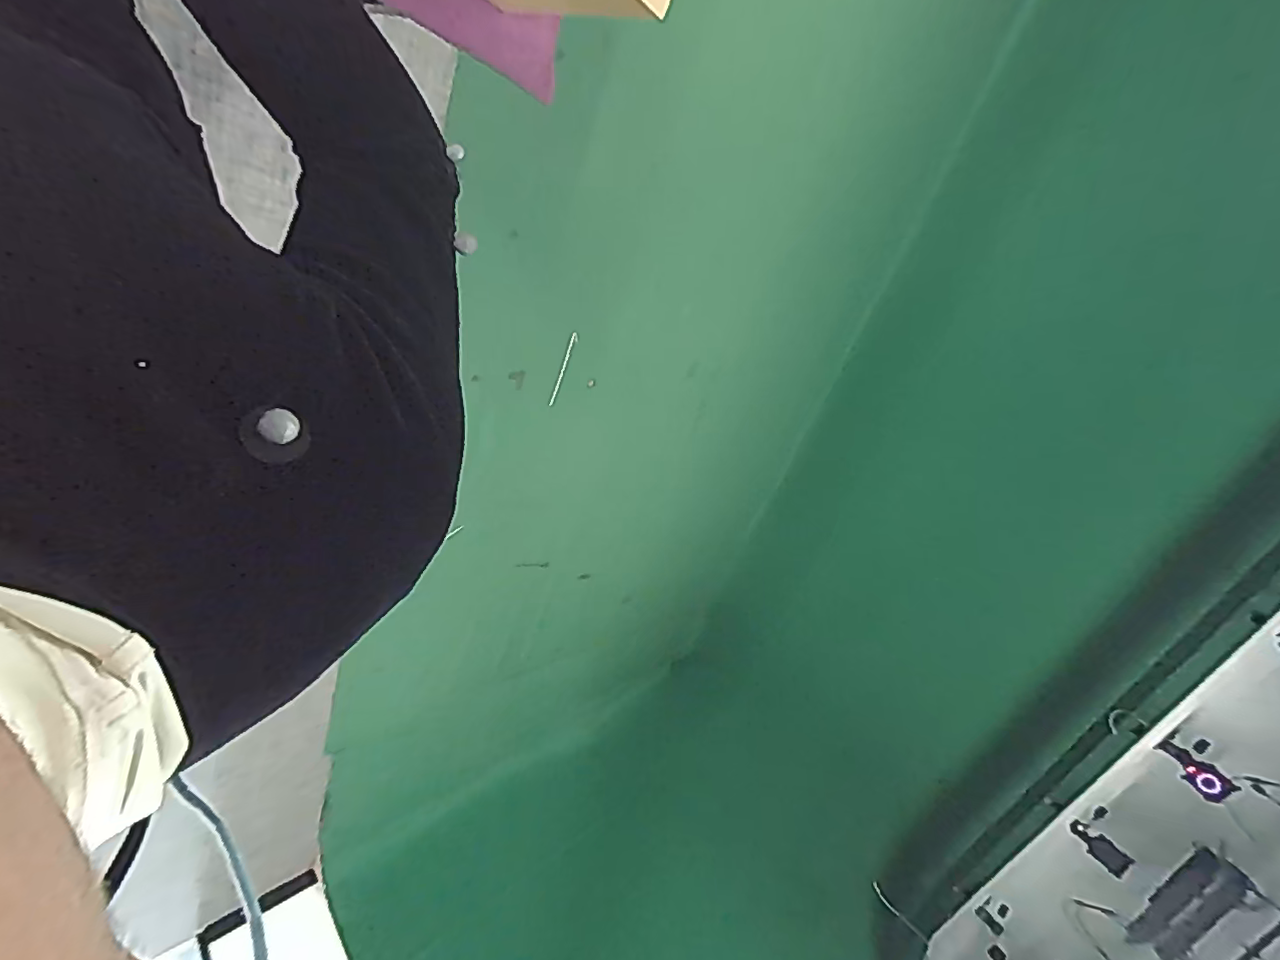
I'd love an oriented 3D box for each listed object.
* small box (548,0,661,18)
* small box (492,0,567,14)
[{"bbox_3d":[-0.058,-0.609,0.534,0.168,0.176,0.179,0,122,-48],"label":"small box"},{"bbox_3d":[-0.169,-0.688,0.623,0.179,0.176,0.168,-2,121,-50],"label":"small box"}]
